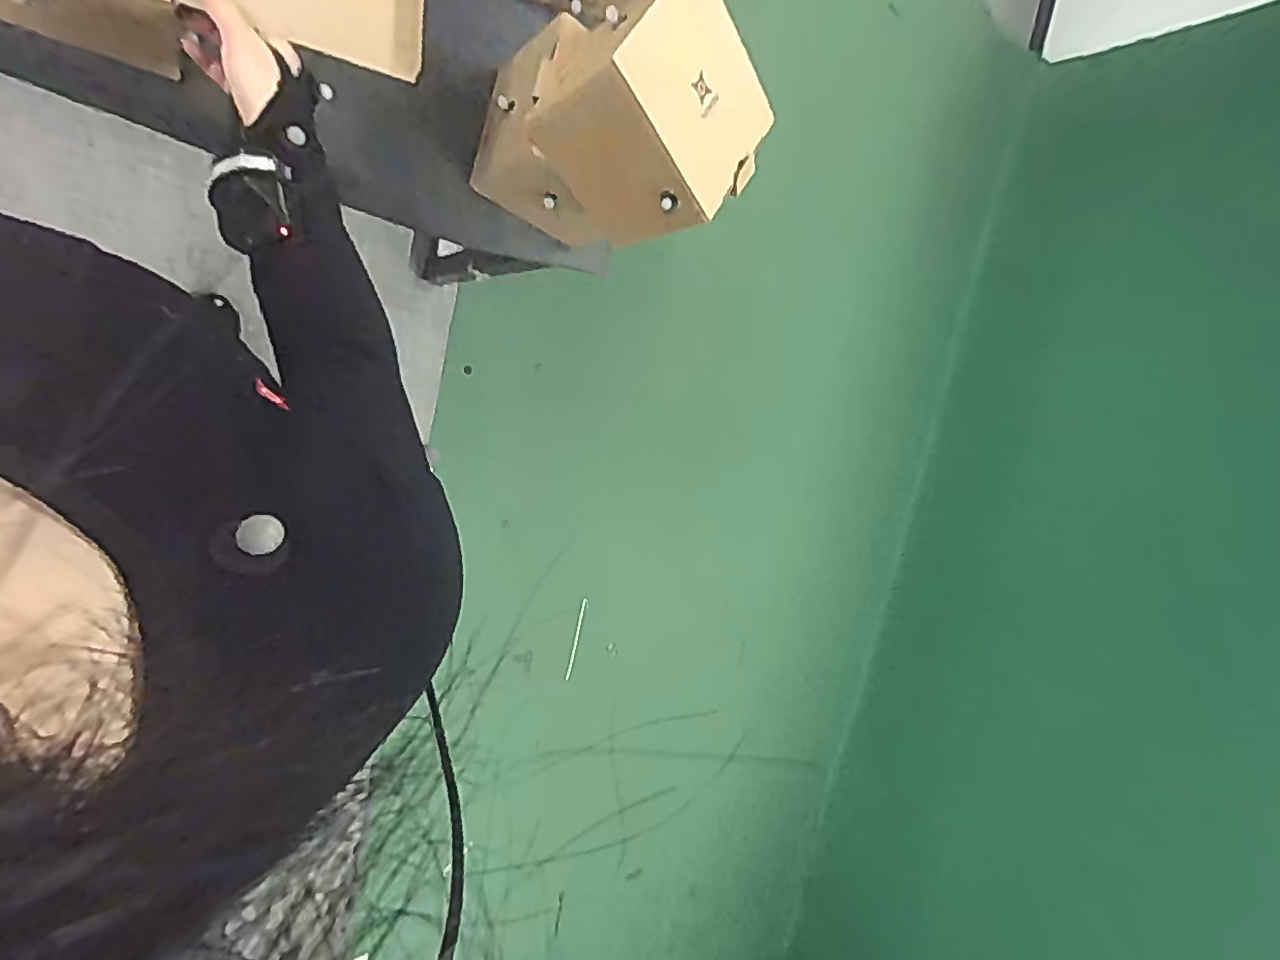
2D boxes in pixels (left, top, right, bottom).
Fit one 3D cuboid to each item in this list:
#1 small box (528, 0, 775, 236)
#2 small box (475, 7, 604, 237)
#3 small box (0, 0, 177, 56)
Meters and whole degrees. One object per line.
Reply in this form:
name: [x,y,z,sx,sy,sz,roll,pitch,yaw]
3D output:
small box: [0.011,-0.399,0.594,0.179,0.176,0.168,43,72,-39]
small box: [-0.093,-0.444,0.713,0.179,0.176,0.168,15,90,-41]
small box: [-0.460,-0.461,0.401,0.179,0.176,0.168,-1,103,-38]
